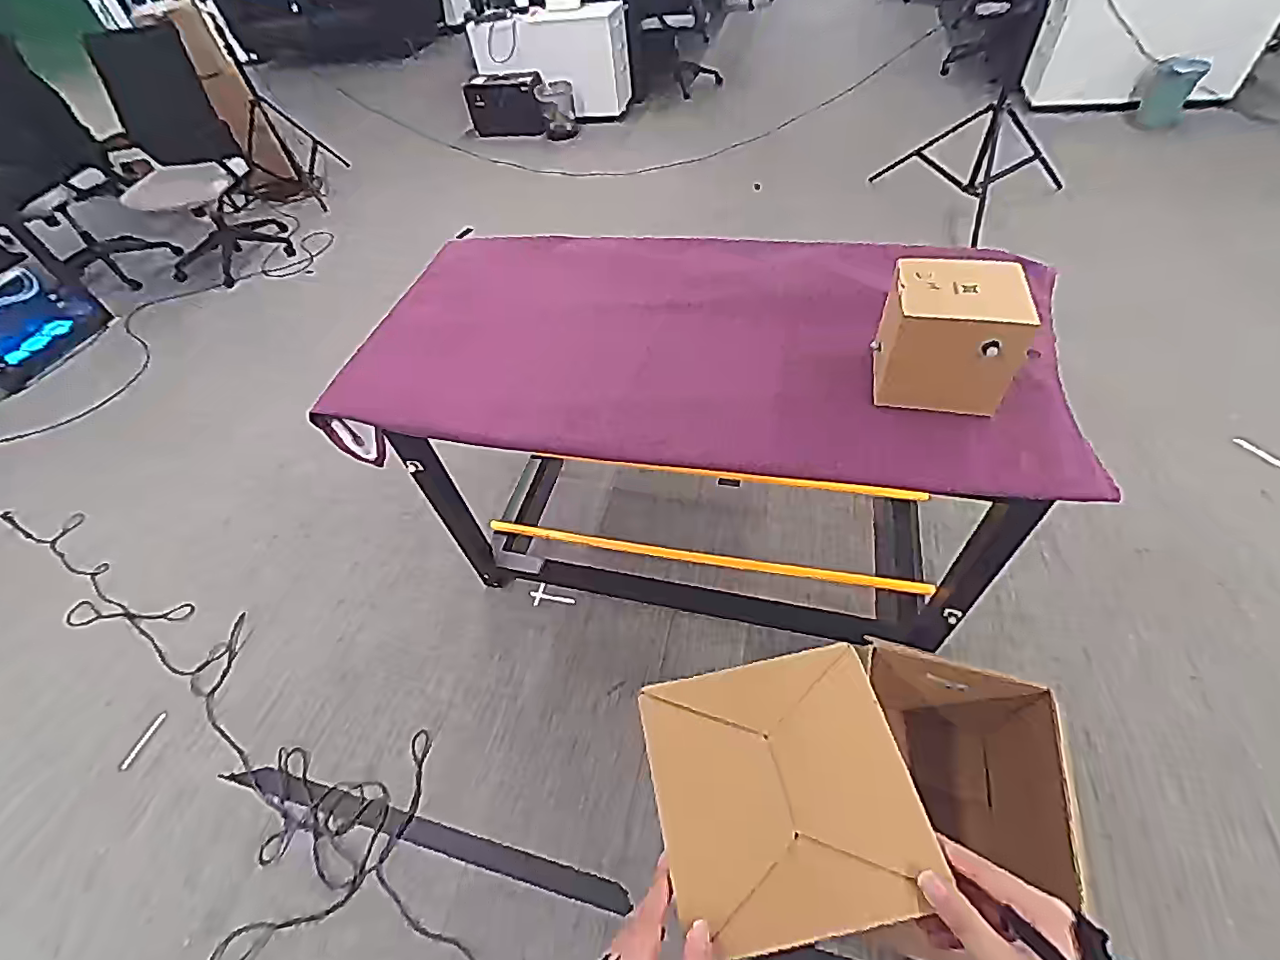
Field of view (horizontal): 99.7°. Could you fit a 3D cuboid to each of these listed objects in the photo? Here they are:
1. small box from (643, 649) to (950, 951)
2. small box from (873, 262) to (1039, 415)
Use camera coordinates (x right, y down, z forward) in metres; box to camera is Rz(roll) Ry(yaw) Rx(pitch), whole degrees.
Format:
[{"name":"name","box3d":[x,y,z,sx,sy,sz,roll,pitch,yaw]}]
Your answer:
[{"name":"small box","box3d":[0.103,0.255,0.438,0.179,0.176,0.168,-11,53,-3]},{"name":"small box","box3d":[0.481,-0.220,0.852,0.179,0.176,0.168,8,50,14]}]
